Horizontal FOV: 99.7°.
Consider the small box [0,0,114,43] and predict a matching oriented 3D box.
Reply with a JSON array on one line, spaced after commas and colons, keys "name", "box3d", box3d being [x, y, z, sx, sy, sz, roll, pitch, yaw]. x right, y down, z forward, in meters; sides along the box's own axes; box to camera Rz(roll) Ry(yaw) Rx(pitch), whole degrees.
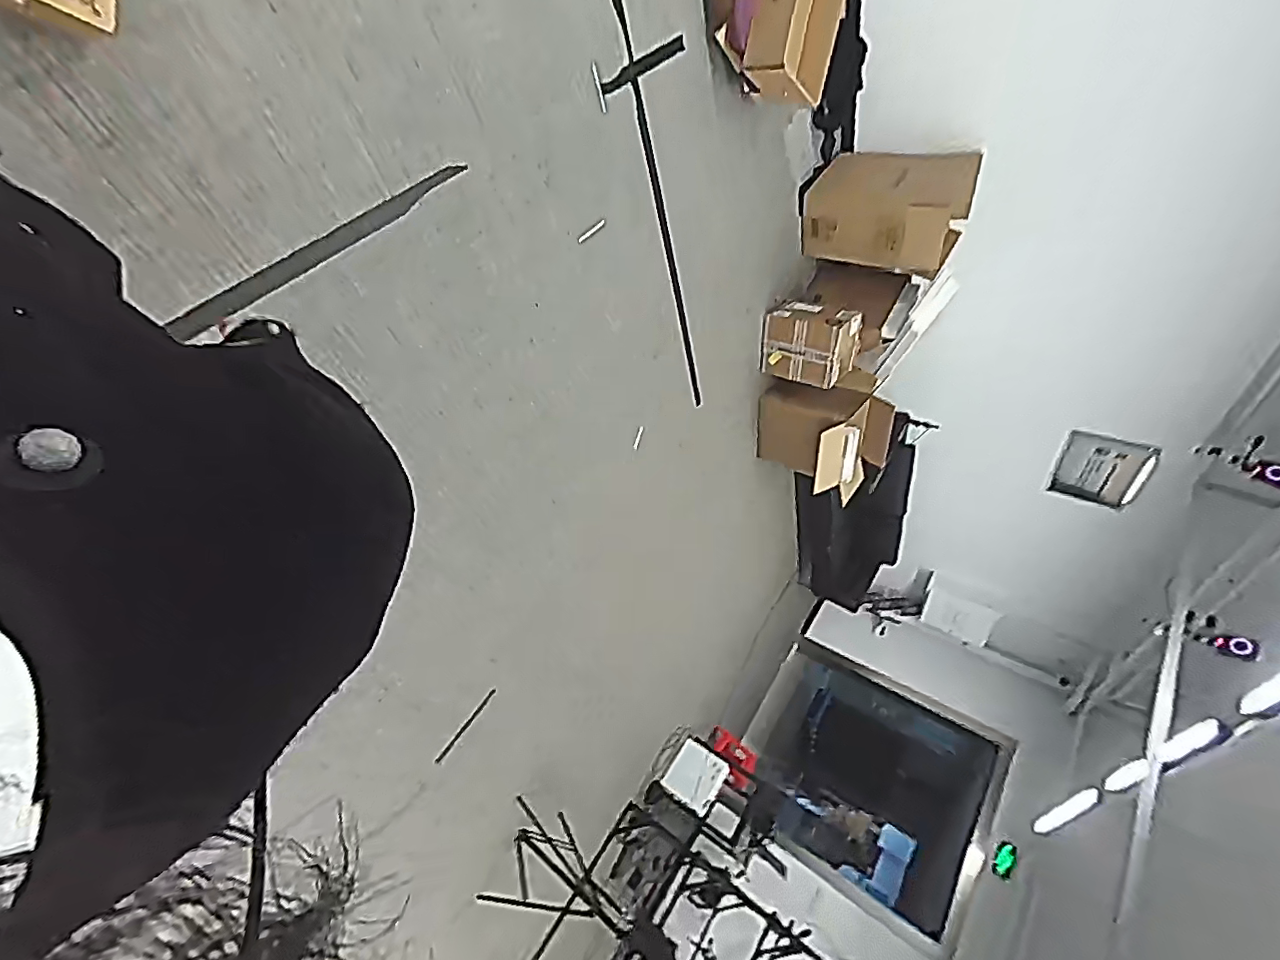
[{"name": "small box", "box3d": [-0.935, -0.816, 0.824, 0.168, 0.176, 0.179, -5, 112, -55]}]
